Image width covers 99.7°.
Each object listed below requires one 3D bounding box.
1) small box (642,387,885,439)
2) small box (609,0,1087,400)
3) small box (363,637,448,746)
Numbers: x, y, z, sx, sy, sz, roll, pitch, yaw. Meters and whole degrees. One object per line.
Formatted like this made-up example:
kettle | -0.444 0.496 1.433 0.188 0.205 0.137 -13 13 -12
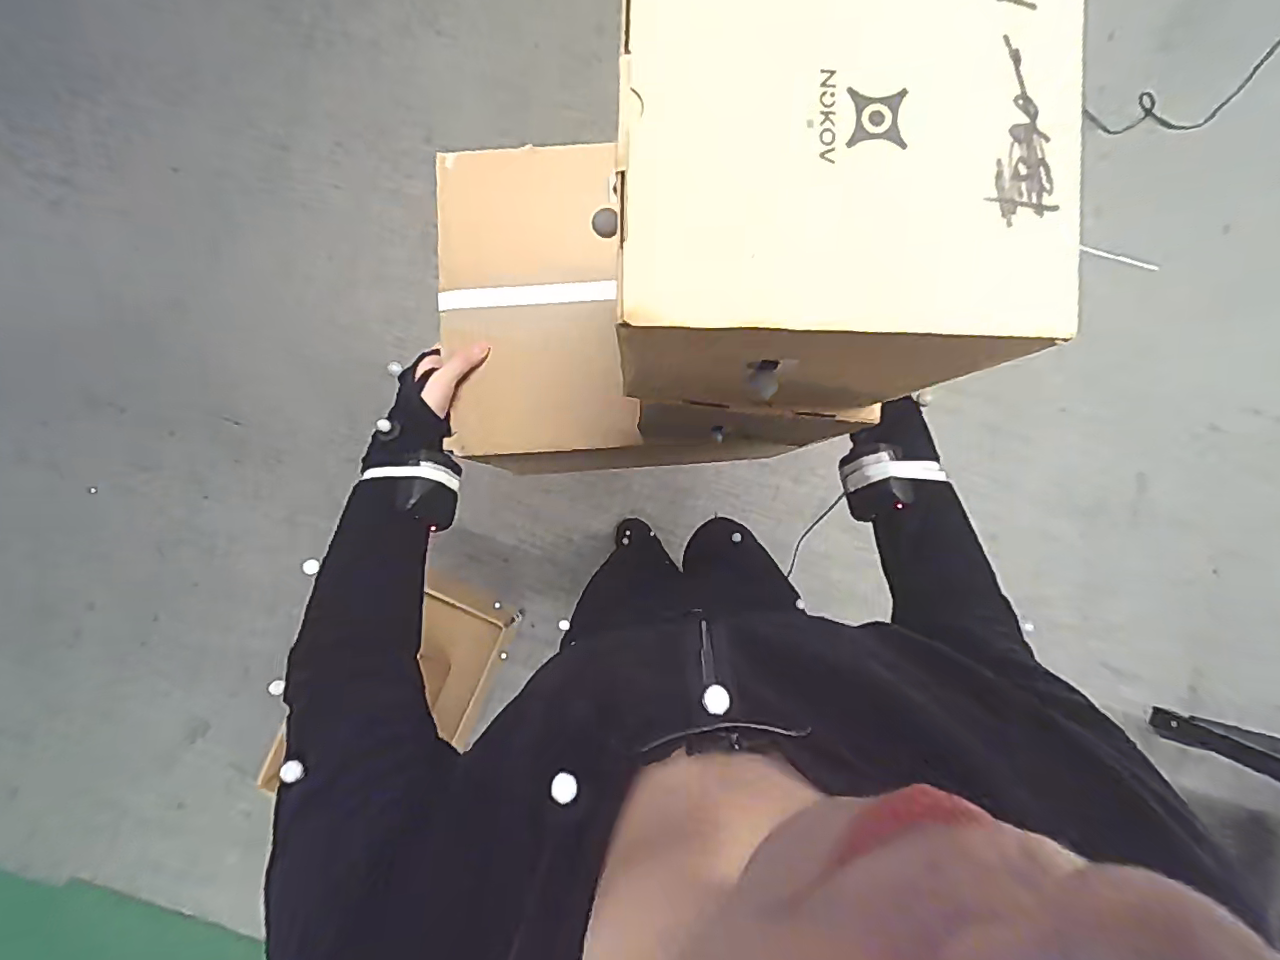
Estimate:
small box | 0.092 -0.134 0.448 0.168 0.176 0.179 6 91 0
small box | 0.080 -0.136 0.283 0.179 0.176 0.168 2 91 0
small box | -0.610 0.524 1.359 0.168 0.176 0.179 24 90 0
